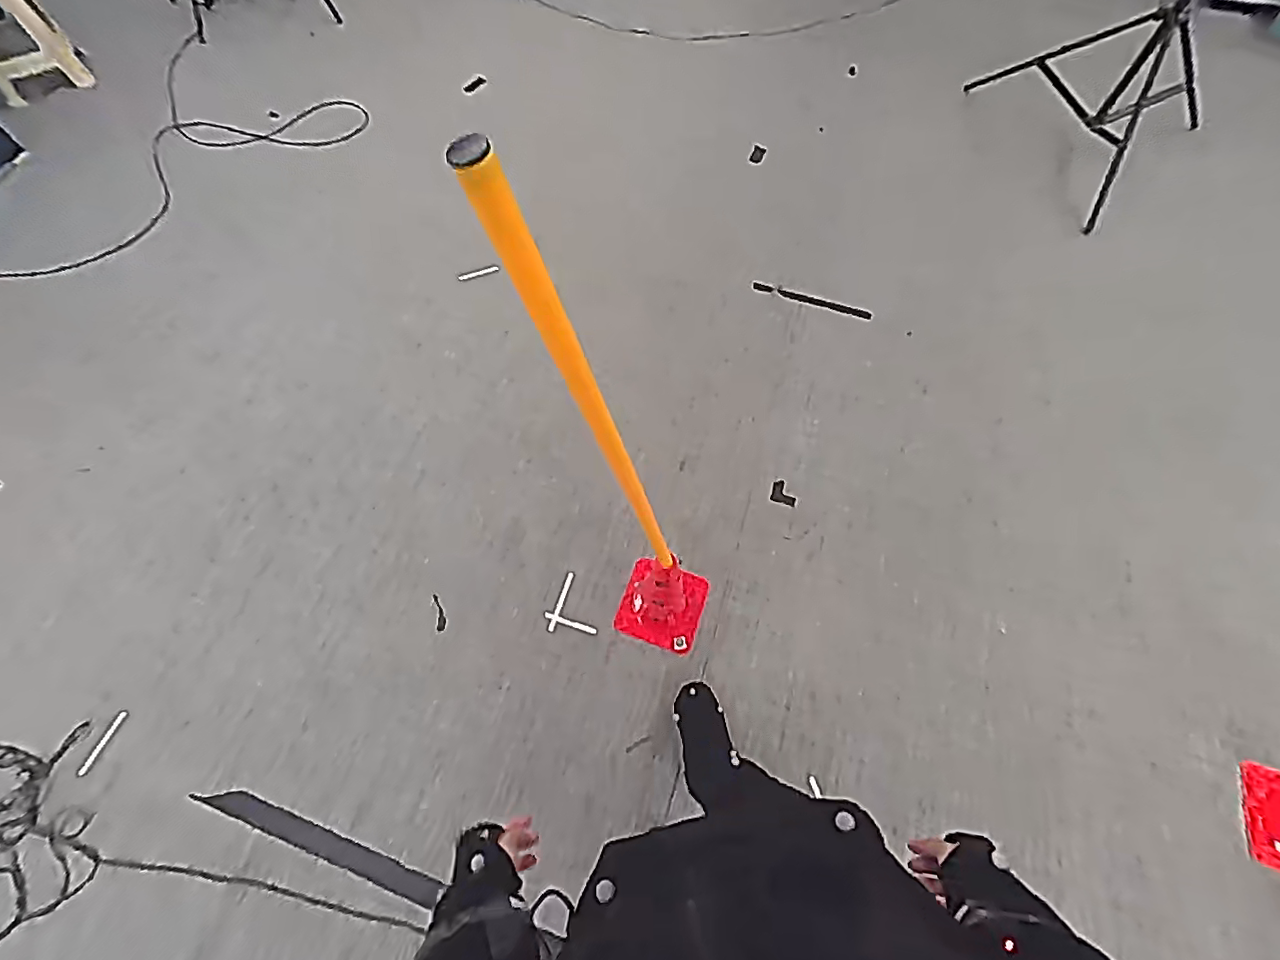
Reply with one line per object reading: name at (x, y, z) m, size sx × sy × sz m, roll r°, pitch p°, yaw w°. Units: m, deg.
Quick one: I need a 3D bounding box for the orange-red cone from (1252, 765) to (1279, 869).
orange-red cone at (1.380, 0.650, 0.966) m, size 0.199 × 0.360 × 0.198 m, roll 20°, pitch 66°, yaw 10°
